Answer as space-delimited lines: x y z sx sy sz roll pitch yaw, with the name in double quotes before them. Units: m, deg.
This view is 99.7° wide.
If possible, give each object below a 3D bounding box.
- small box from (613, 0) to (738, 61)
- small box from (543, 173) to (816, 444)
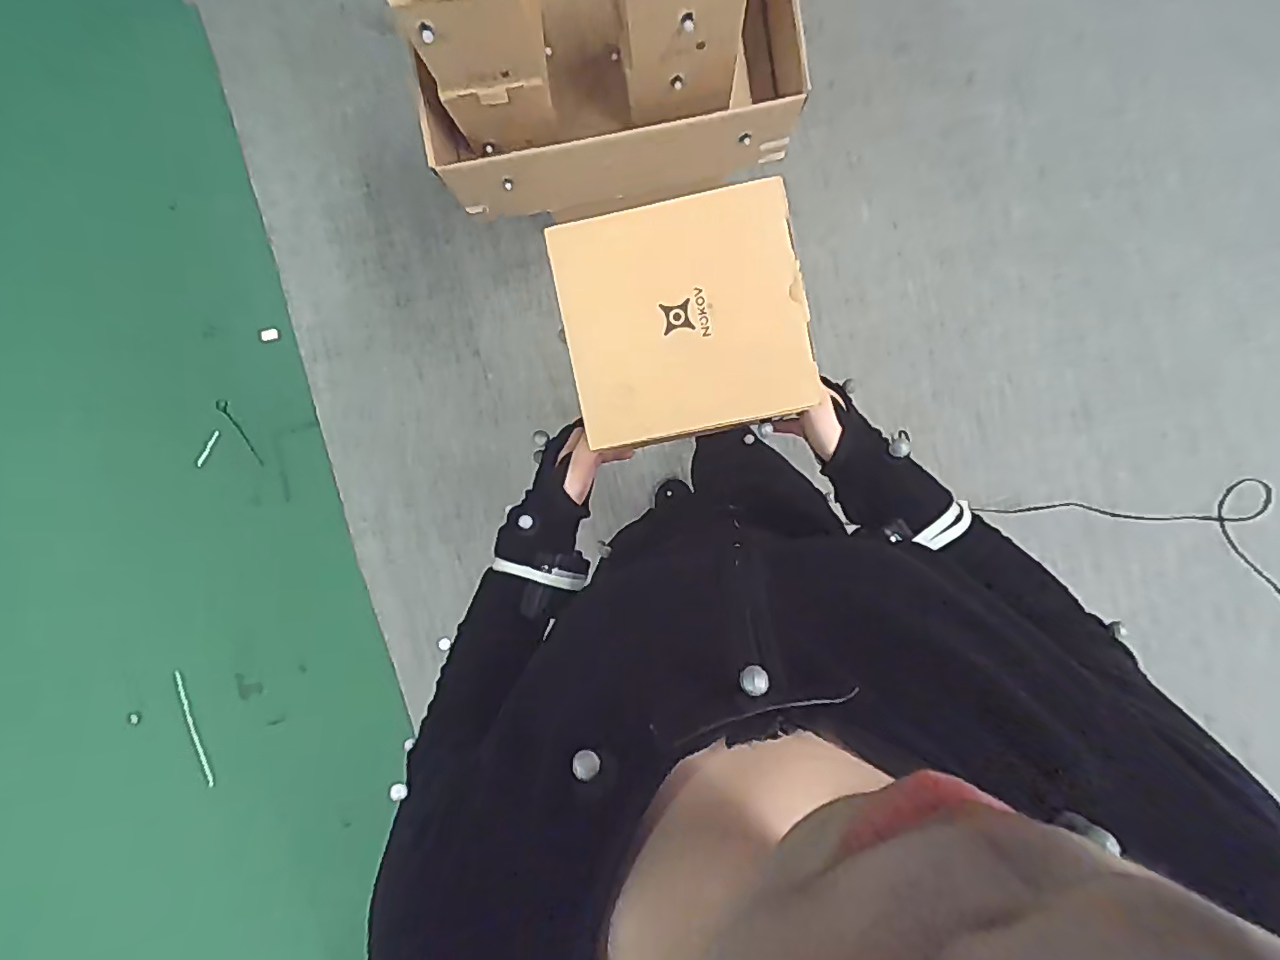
"small box" 0.039 -0.707 0.722 0.168 0.176 0.179 -12 94 4
"small box" 0.031 -0.127 0.471 0.179 0.176 0.168 -12 92 1
